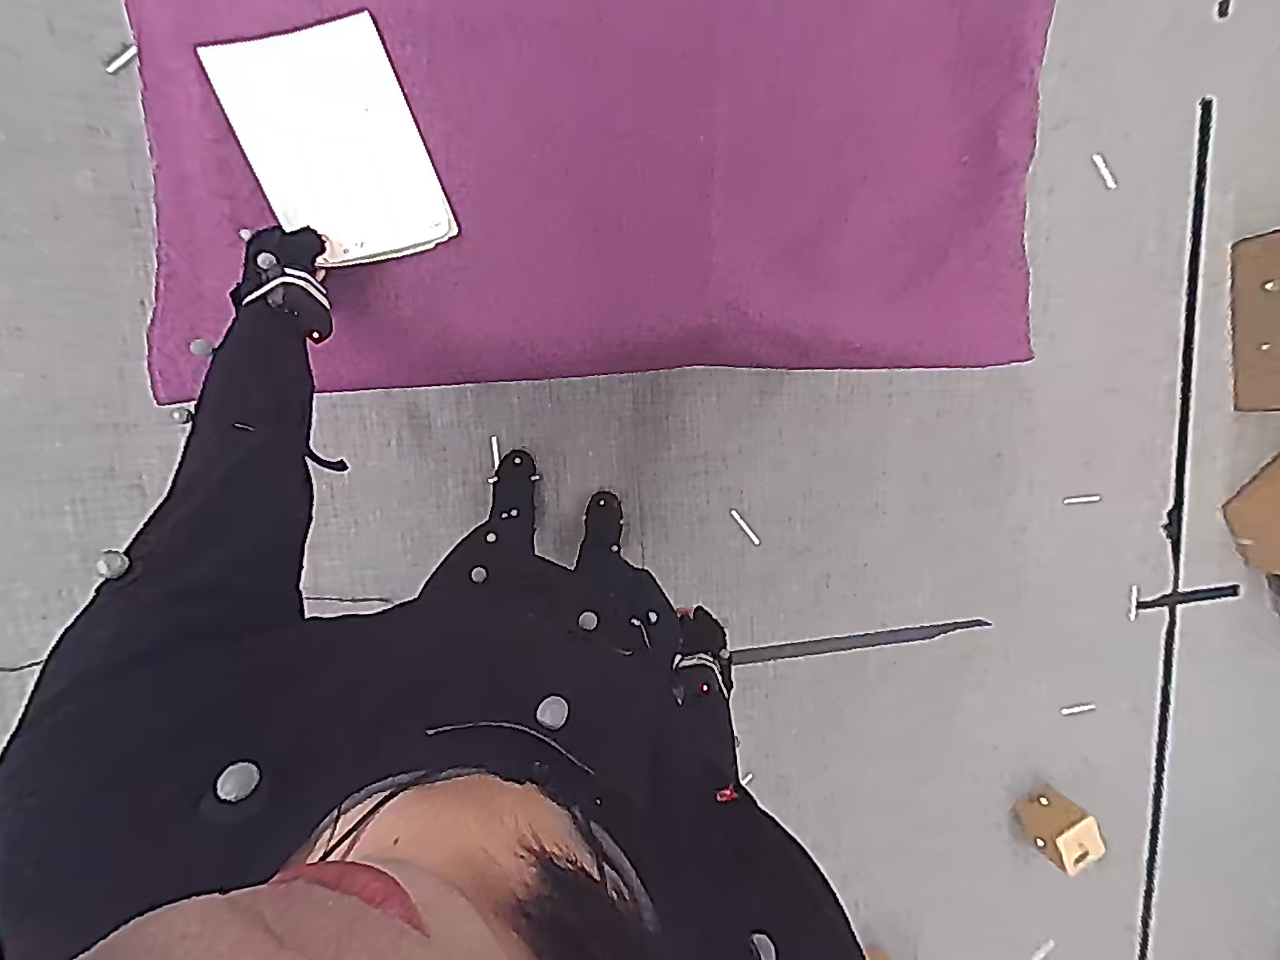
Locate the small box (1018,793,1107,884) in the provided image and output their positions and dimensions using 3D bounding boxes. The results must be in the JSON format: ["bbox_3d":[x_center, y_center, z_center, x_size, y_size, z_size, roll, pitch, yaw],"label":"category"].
[{"bbox_3d":[1.512,1.278,1.940,0.168,0.176,0.179,-27,100,-9],"label":"small box"}]

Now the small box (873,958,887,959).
[{"bbox_3d":[0.810,1.789,1.847,0.179,0.176,0.168,9,96,-14],"label":"small box"}]
